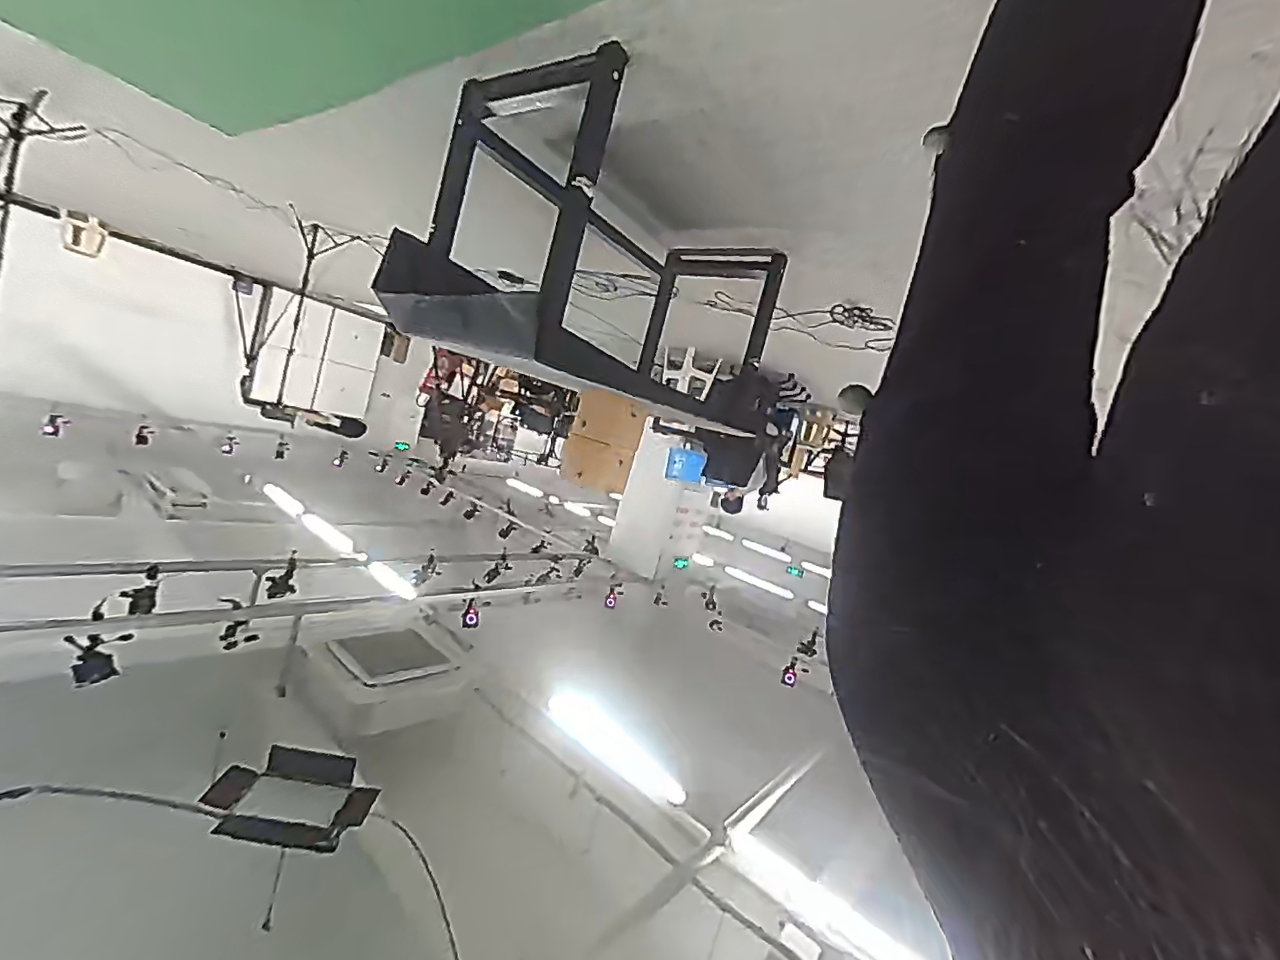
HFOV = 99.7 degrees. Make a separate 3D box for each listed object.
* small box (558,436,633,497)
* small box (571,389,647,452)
[{"bbox_3d":[-0.148,-0.052,1.858,0.179,0.176,0.168,18,-175,35],"label":"small box"},{"bbox_3d":[-0.101,-0.206,1.840,0.179,0.176,0.168,19,-173,34],"label":"small box"}]
